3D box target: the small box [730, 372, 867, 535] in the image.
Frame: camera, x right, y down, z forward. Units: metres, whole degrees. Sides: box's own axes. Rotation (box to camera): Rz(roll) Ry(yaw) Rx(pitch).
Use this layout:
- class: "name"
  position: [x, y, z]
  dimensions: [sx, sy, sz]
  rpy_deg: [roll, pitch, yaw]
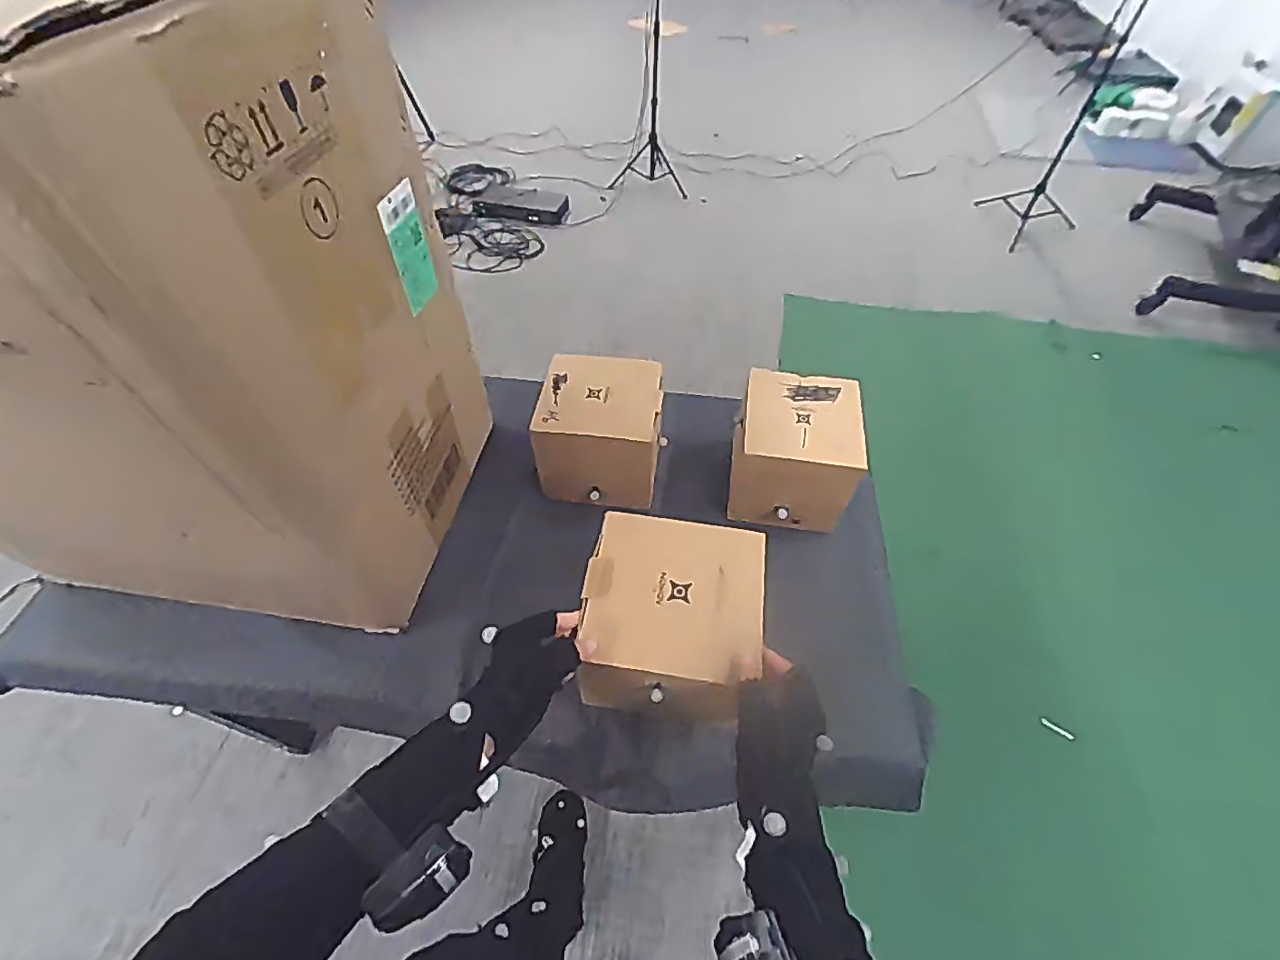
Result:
- class: "small box"
  position: [0.237, -0.039, 0.843]
  dimensions: [0.168, 0.176, 0.179]
  rpy_deg: [8, 53, 5]
